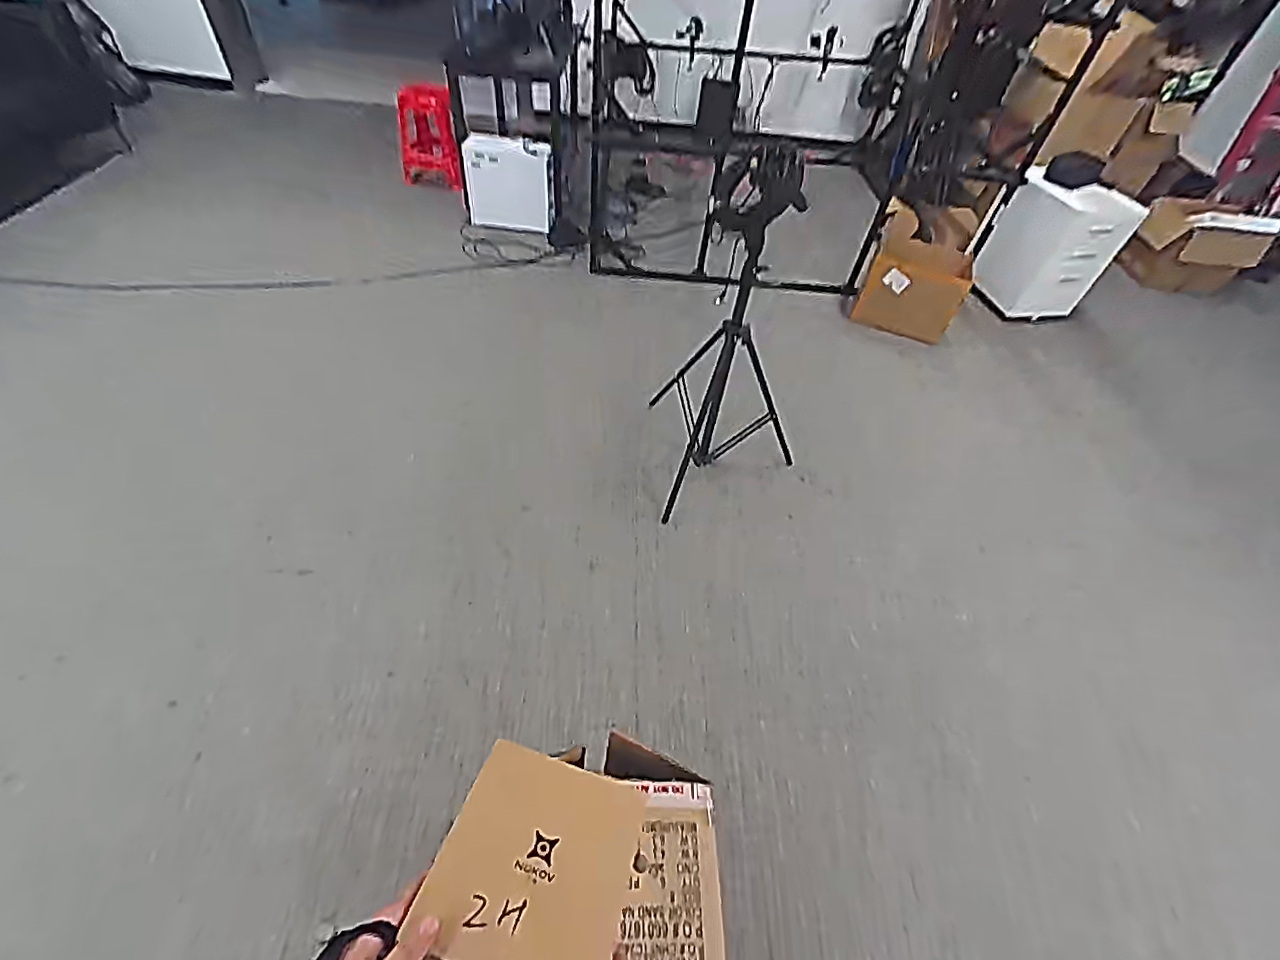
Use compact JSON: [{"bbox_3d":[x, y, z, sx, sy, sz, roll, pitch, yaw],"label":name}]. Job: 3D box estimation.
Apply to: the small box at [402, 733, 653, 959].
[{"bbox_3d":[-0.100,0.387,0.513,0.168,0.176,0.179,17,36,6],"label":"small box"}]
